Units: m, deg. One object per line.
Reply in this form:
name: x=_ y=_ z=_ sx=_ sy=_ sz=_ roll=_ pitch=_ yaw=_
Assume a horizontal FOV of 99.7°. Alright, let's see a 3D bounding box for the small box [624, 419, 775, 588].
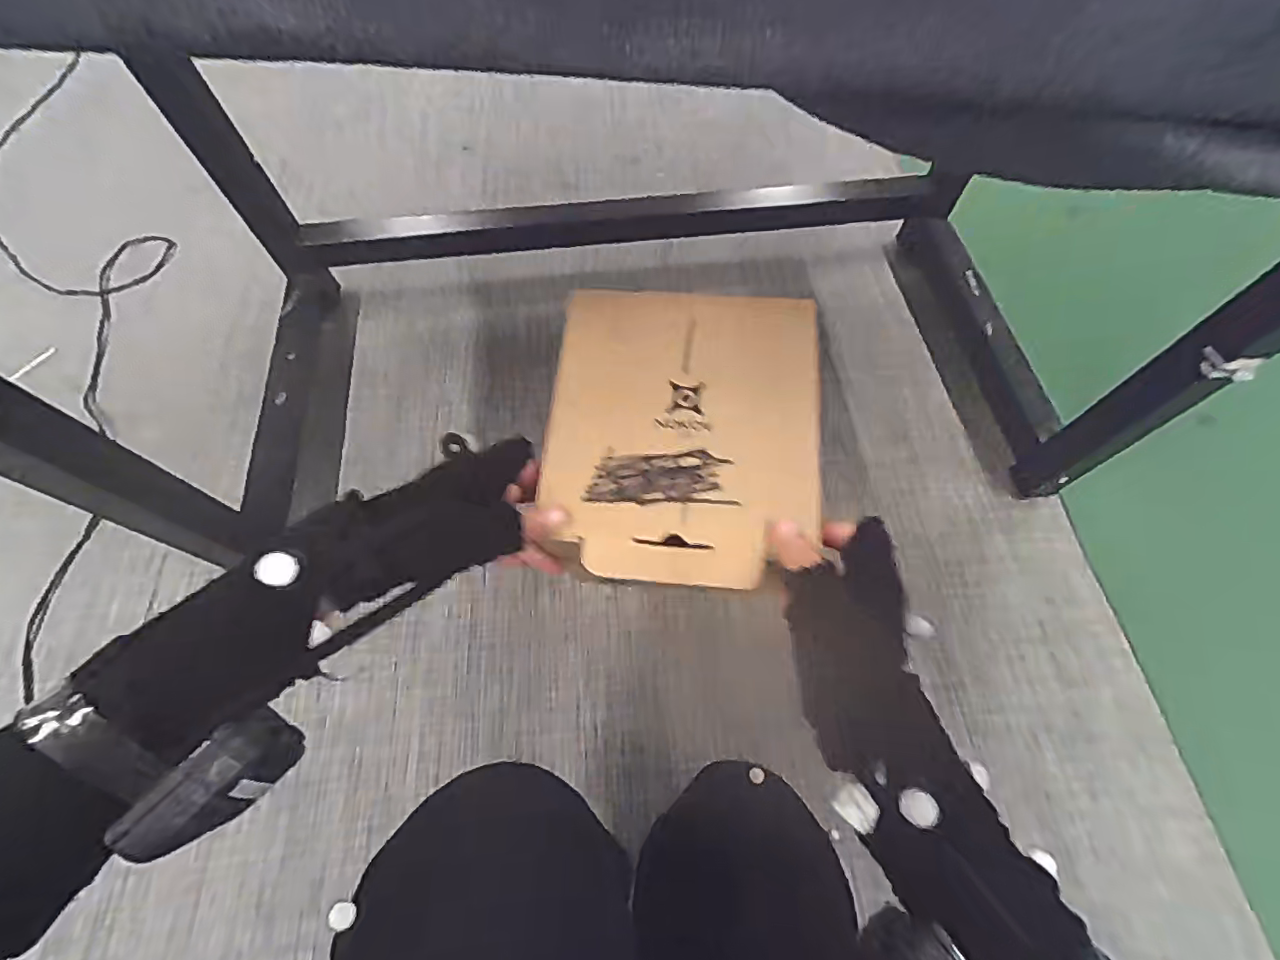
small box: x=0.071 y=0.041 z=0.740 sx=0.168 sy=0.176 sz=0.179 roll=-6 pitch=62 yaw=-4
